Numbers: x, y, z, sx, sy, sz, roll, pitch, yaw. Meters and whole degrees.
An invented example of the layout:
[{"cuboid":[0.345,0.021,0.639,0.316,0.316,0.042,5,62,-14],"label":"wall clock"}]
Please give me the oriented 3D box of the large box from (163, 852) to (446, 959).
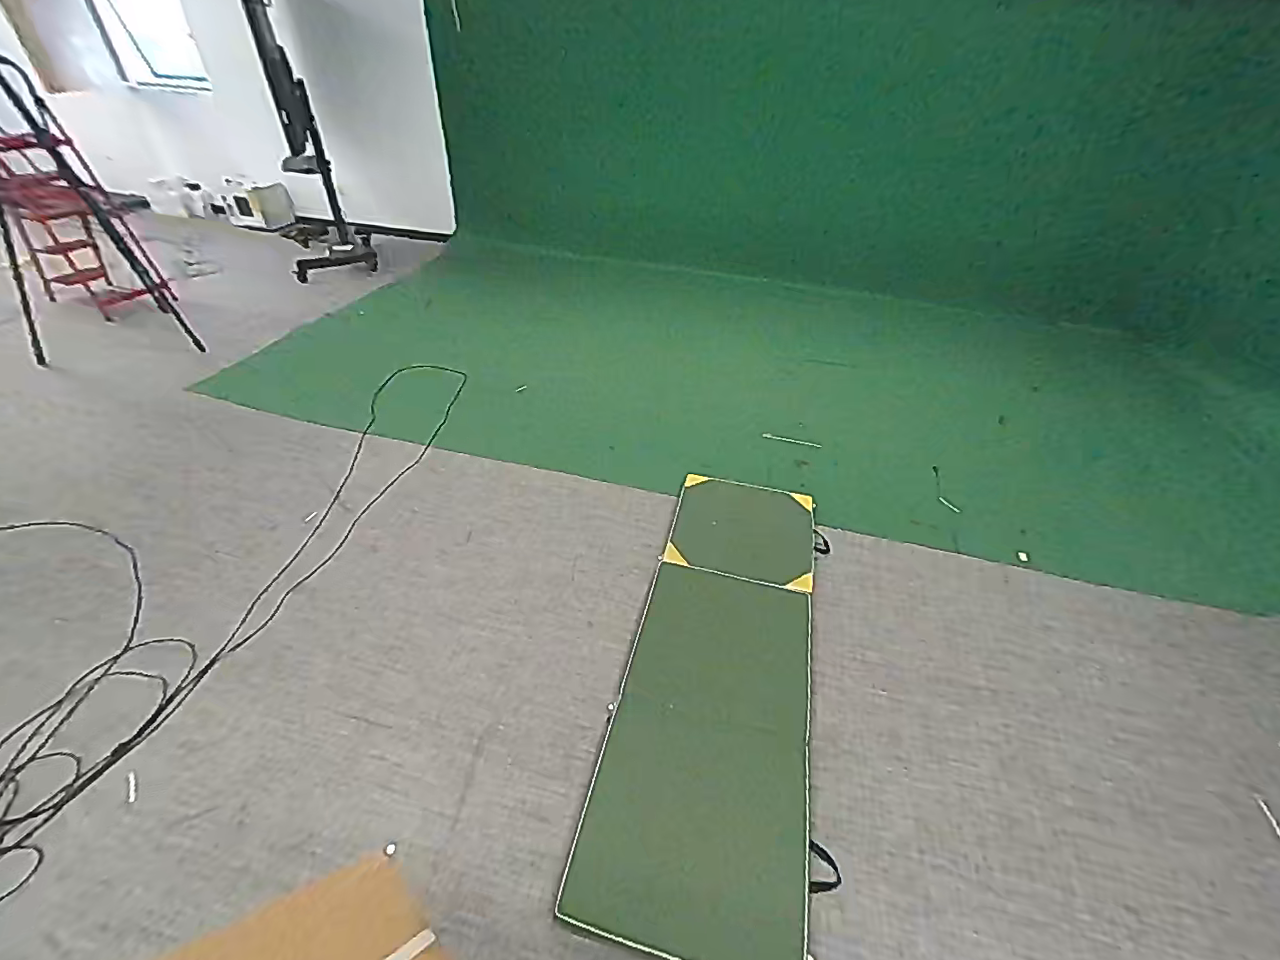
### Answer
[{"cuboid":[-0.488,0.777,0.661,0.320,0.408,0.320,40,92,24],"label":"large box"}]
